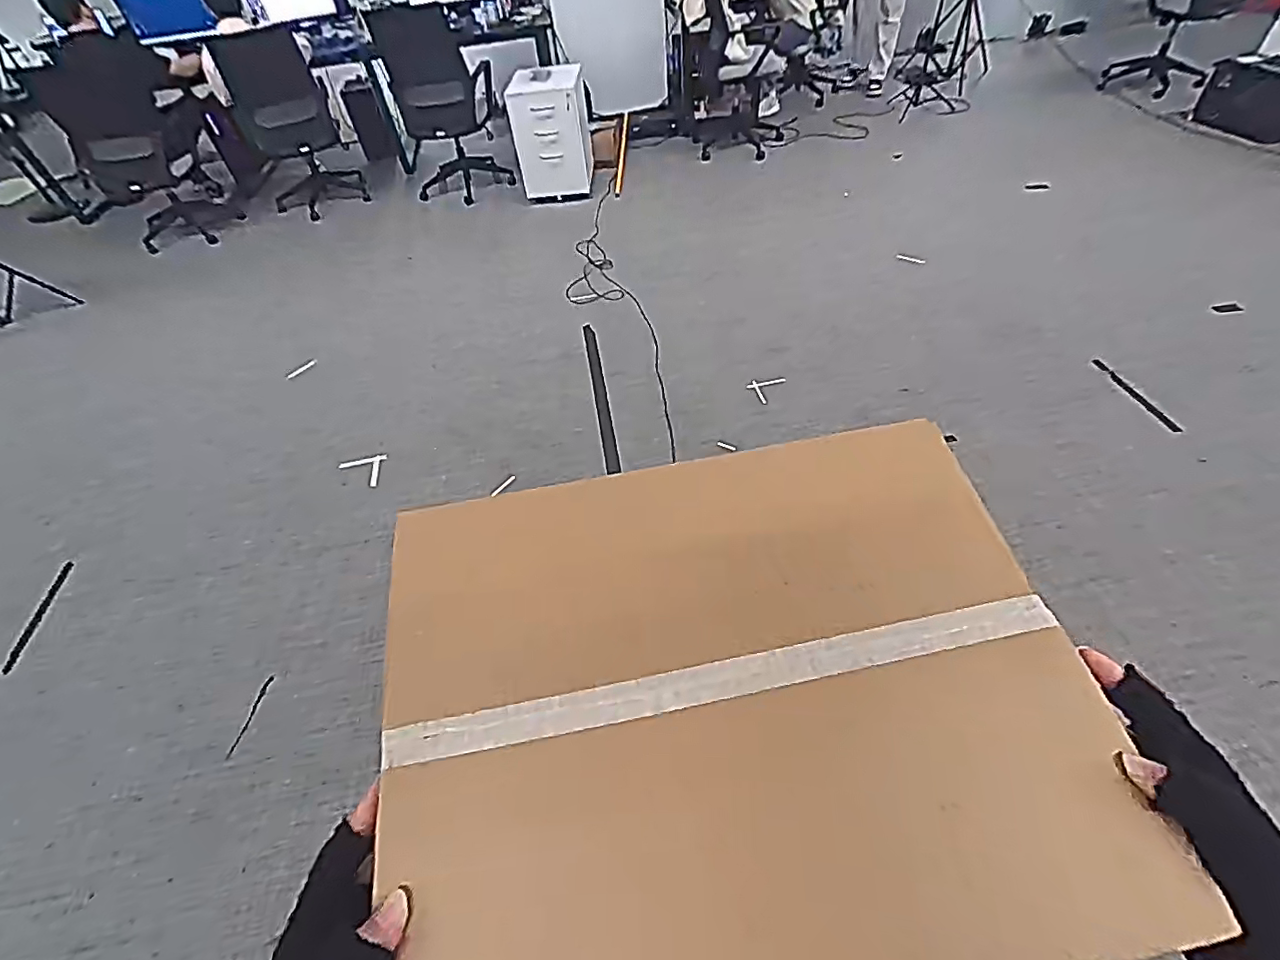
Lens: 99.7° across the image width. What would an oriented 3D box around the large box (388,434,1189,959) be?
[{"bbox_3d":[0.059,0.205,0.455,0.408,0.320,0.320,-11,58,-3],"label":"large box"}]
